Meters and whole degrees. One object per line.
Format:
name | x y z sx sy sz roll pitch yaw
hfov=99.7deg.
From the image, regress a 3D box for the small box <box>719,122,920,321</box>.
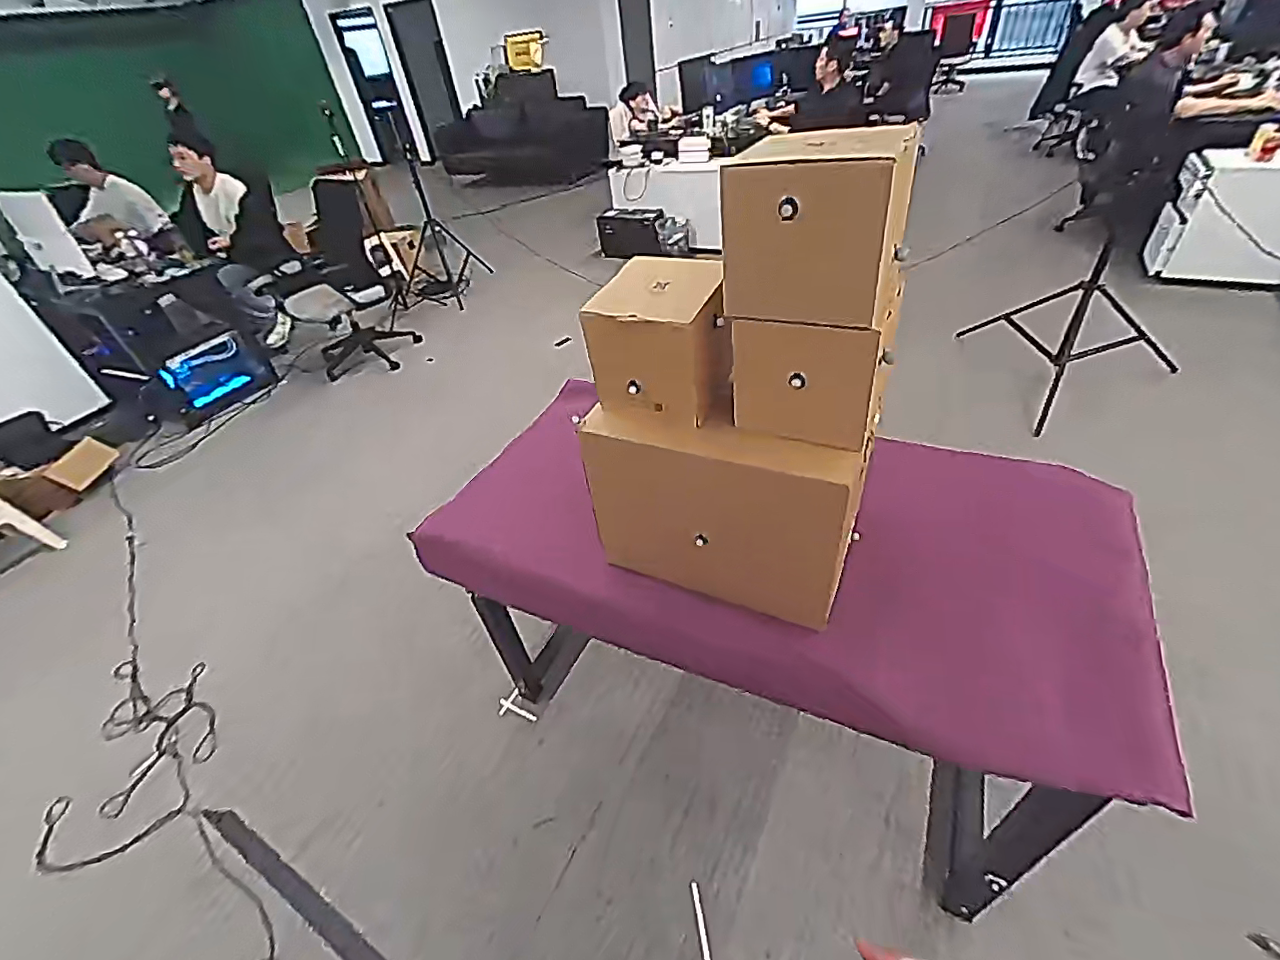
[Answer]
small box | 0.204 -0.297 0.627 0.179 0.176 0.168 14 45 26
